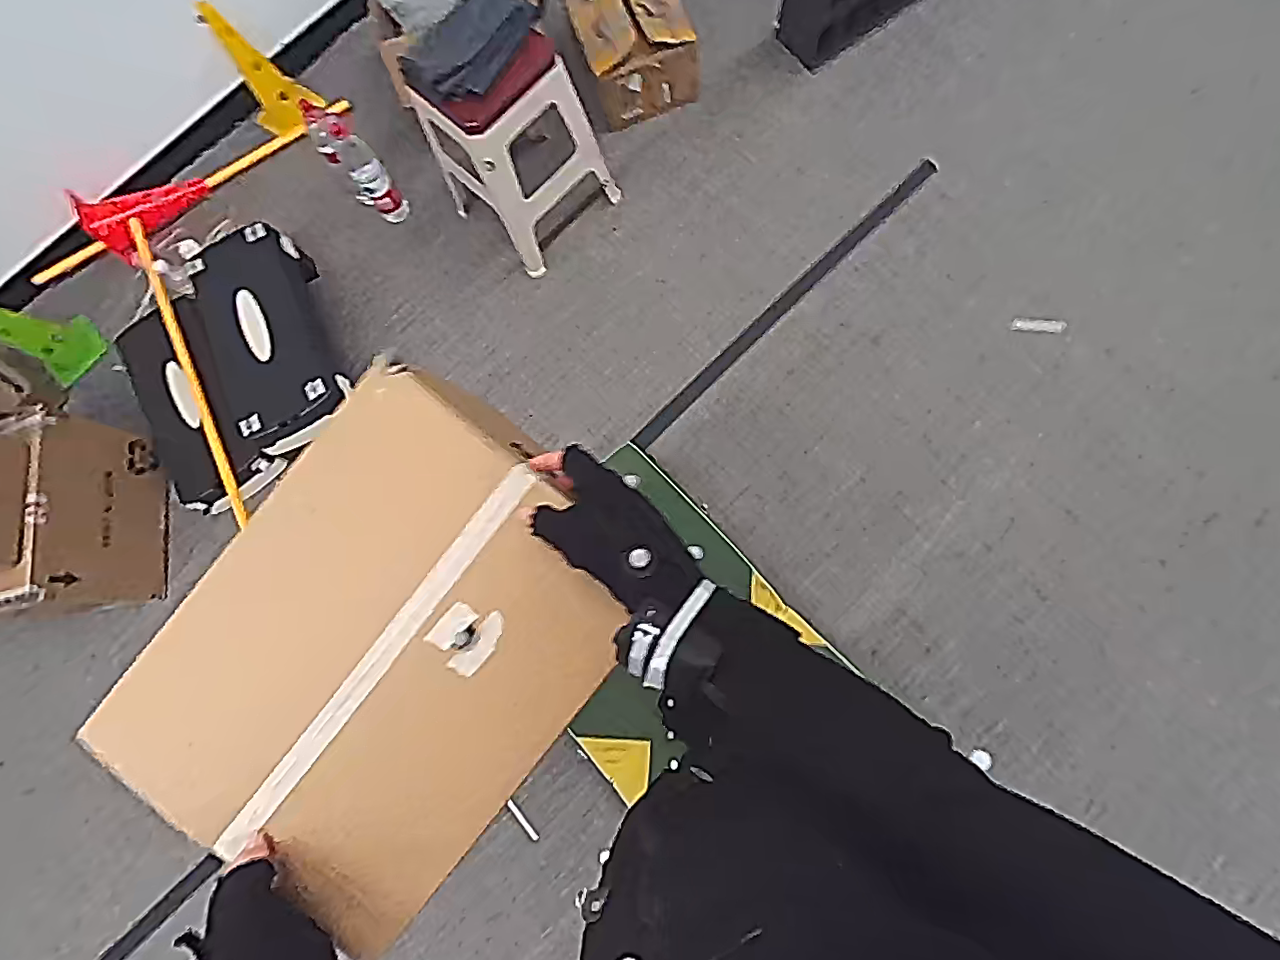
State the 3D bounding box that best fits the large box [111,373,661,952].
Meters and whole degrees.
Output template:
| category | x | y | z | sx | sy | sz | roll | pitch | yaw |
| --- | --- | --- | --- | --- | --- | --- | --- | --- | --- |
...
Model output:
| category | x | y | z | sx | sy | sz | roll | pitch | yaw |
| --- | --- | --- | --- | --- | --- | --- | --- | --- | --- |
| large box | -0.218 | 0.159 | 0.613 | 0.320 | 0.320 | 0.408 | 38 | 89 | 0 |
